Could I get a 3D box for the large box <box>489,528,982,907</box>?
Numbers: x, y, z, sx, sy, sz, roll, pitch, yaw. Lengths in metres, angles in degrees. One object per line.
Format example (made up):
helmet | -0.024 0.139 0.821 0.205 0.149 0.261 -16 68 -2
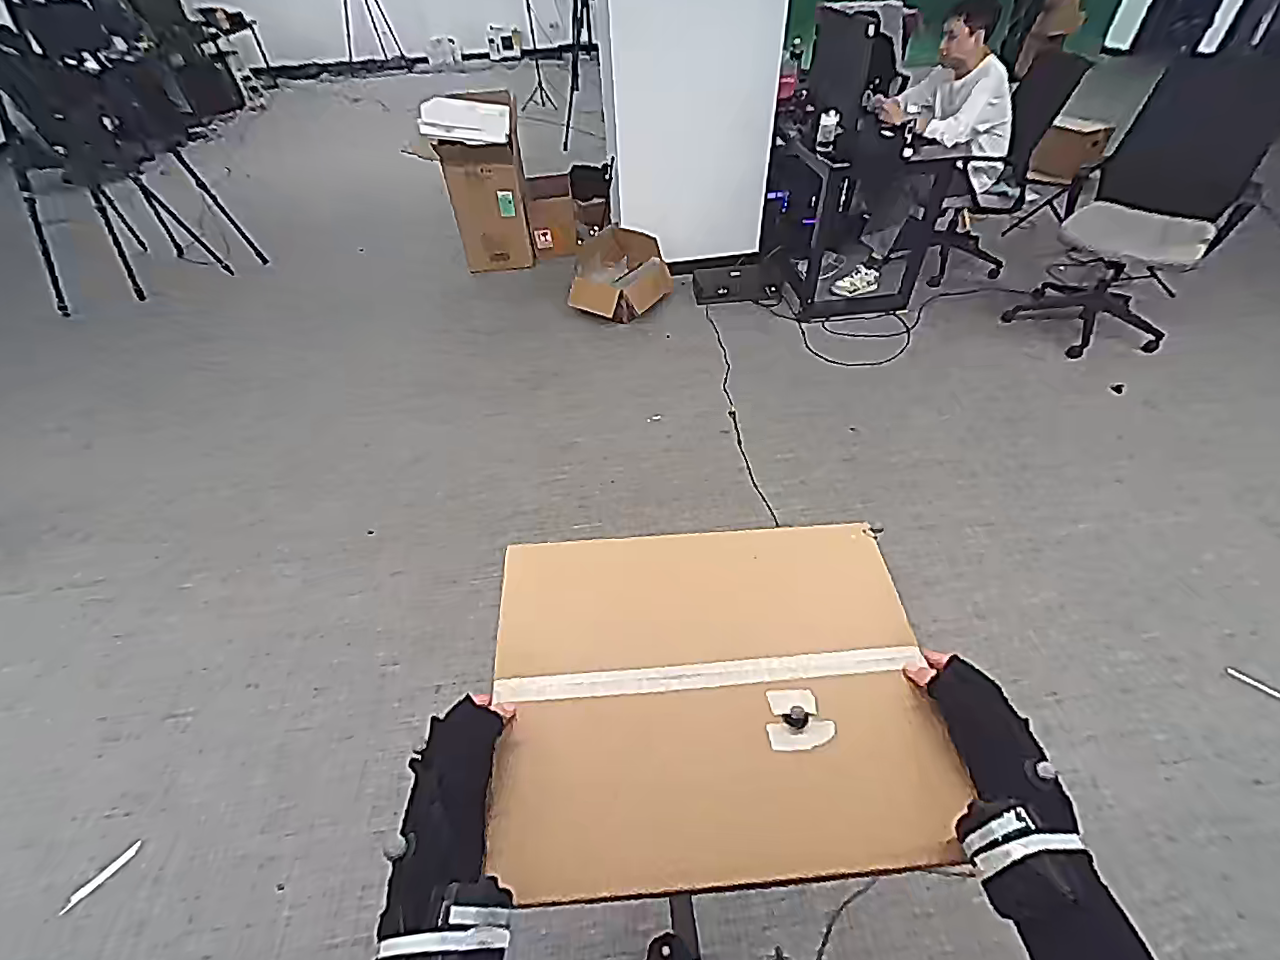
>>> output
large box | 0.065 0.279 0.629 0.408 0.320 0.320 -3 52 -3
